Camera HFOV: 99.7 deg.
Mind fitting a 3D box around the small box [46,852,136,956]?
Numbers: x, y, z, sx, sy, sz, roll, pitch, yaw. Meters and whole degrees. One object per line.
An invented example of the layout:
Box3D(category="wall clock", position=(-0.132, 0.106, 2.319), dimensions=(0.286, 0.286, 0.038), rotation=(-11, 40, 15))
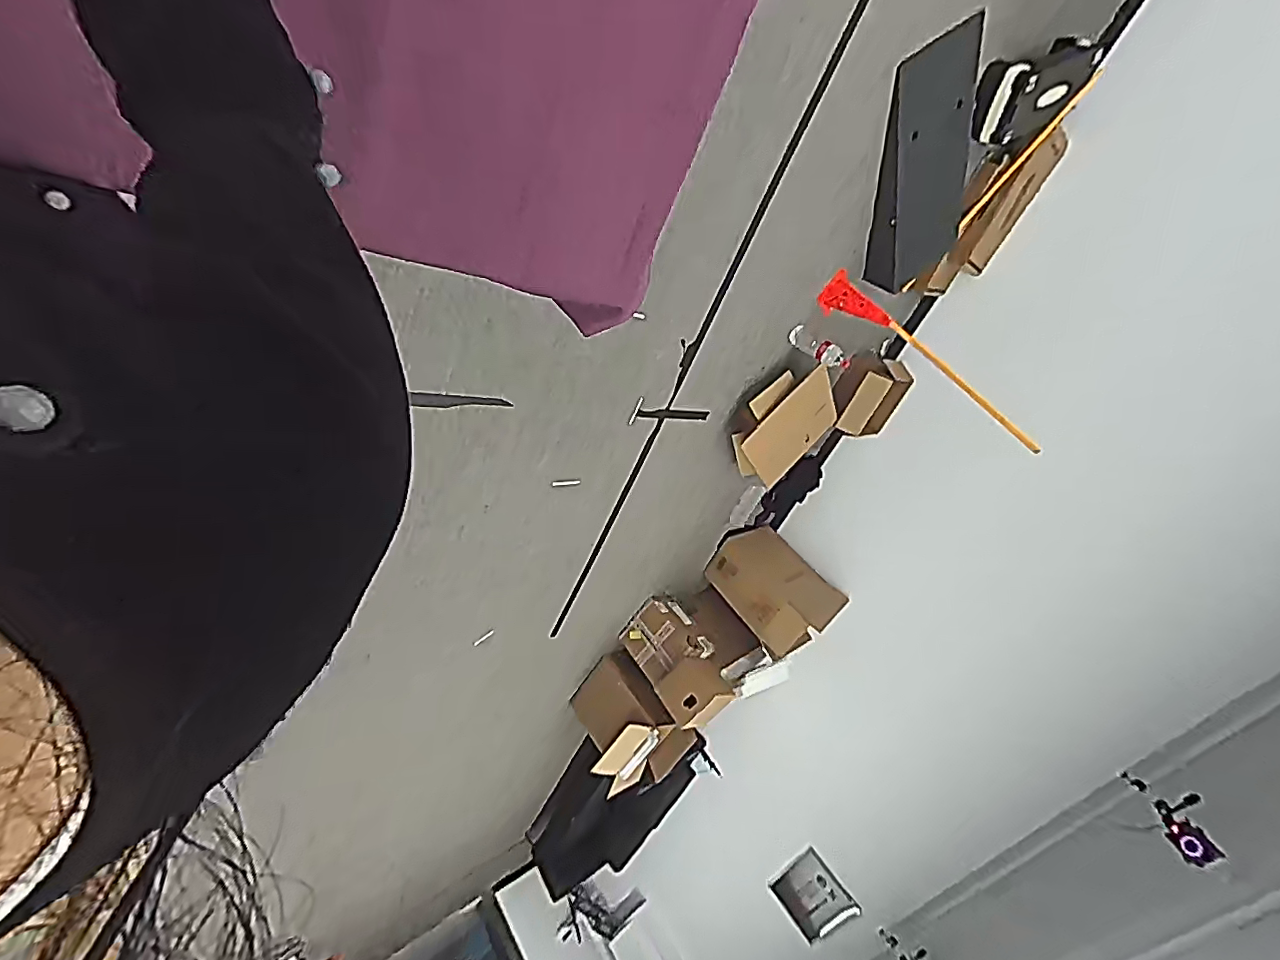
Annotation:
Box3D(category="small box", position=(-1.636, 1.264, 1.614), dimensions=(0.179, 0.176, 0.168), rotation=(-6, 131, -44))

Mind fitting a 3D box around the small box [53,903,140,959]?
Box3D(category="small box", position=(-1.532, 1.354, 1.528), dimensions=(0.168, 0.176, 0.179), rotation=(-6, 130, -46))
